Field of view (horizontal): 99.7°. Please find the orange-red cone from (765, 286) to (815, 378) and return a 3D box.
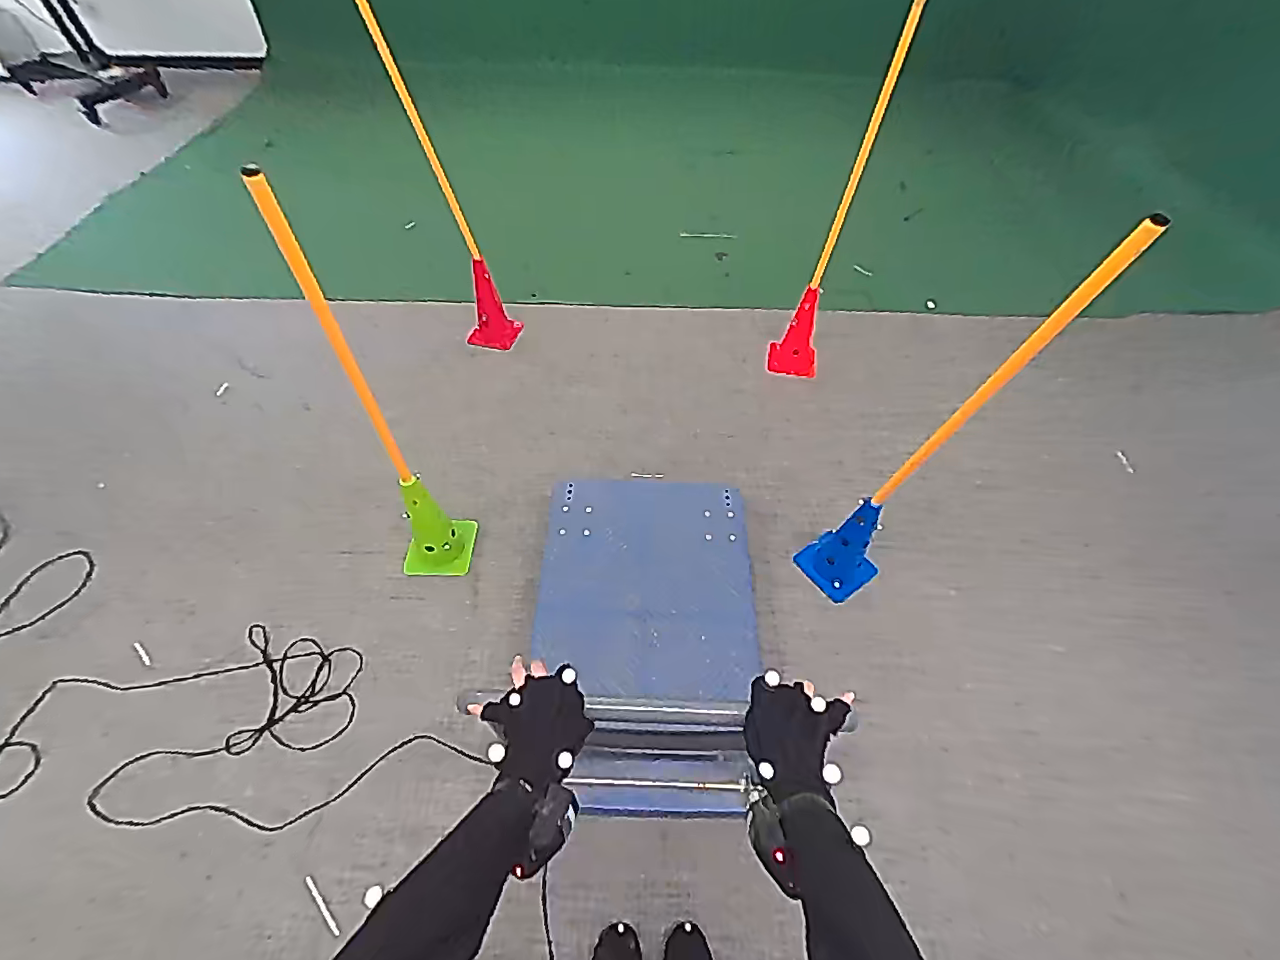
[{"bbox_3d":[0.639,-0.611,2.168,0.198,0.360,0.199,10,53,7],"label":"orange-red cone"}]
